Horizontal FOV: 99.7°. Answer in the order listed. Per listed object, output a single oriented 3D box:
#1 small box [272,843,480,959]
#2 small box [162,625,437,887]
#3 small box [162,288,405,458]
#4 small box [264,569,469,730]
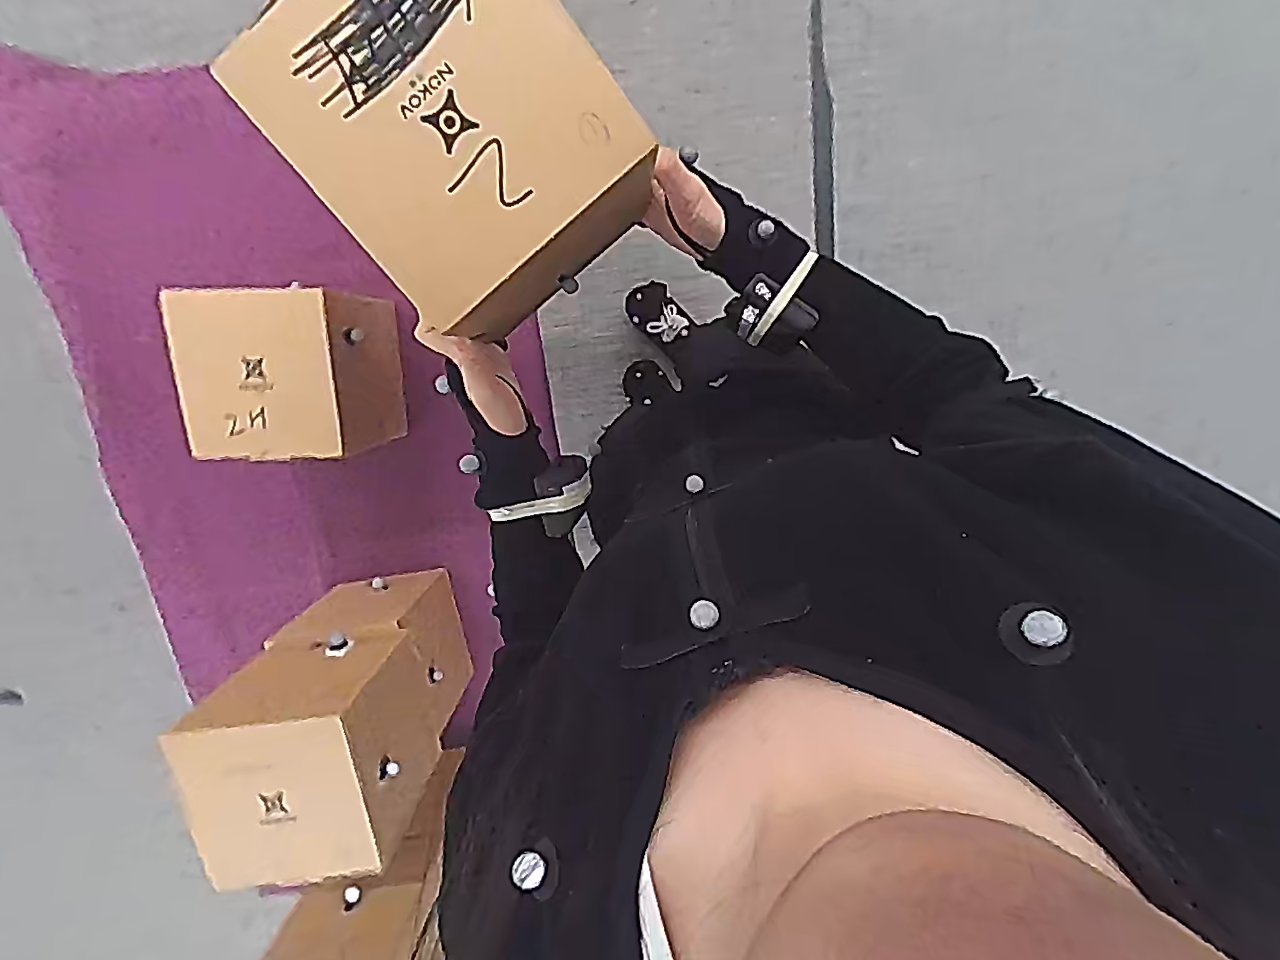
[{"bbox_3d":[-0.311,0.570,0.643,0.168,0.176,0.179,-12,103,3],"label":"small box"},{"bbox_3d":[-0.334,0.279,0.574,0.168,0.176,0.179,-7,102,0],"label":"small box"},{"bbox_3d":[-0.400,-0.127,0.641,0.168,0.176,0.179,0,104,1],"label":"small box"},{"bbox_3d":[-0.349,0.242,0.731,0.168,0.176,0.179,-10,103,2],"label":"small box"}]
